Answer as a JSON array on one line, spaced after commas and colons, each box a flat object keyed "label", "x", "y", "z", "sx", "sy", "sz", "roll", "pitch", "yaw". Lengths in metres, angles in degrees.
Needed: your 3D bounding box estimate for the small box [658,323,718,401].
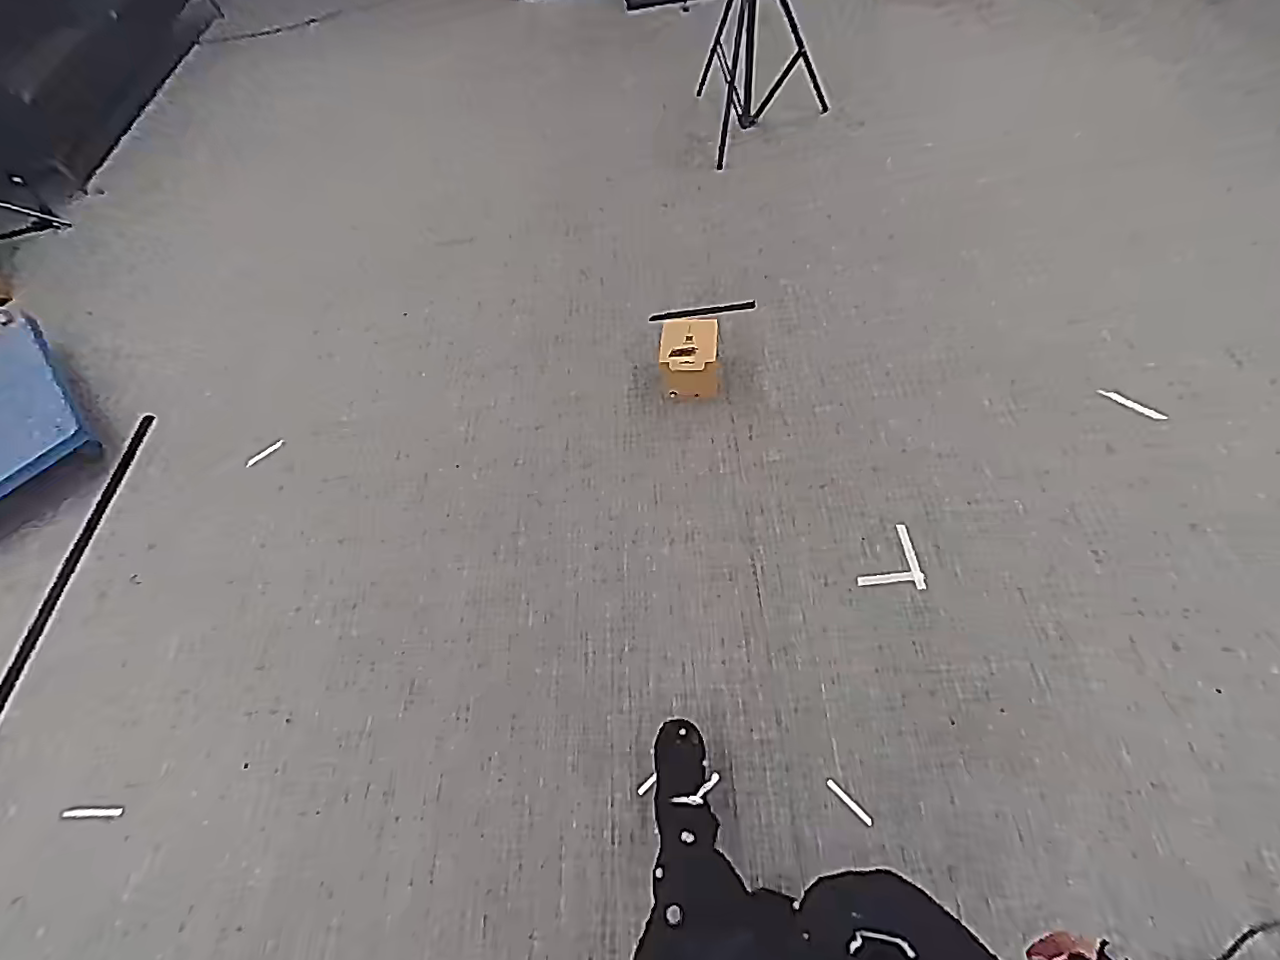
[{"label": "small box", "x": 0.151, "y": -0.355, "z": 1.650, "sx": 0.168, "sy": 0.176, "sz": 0.179, "roll": 1, "pitch": 60, "yaw": 9}]
